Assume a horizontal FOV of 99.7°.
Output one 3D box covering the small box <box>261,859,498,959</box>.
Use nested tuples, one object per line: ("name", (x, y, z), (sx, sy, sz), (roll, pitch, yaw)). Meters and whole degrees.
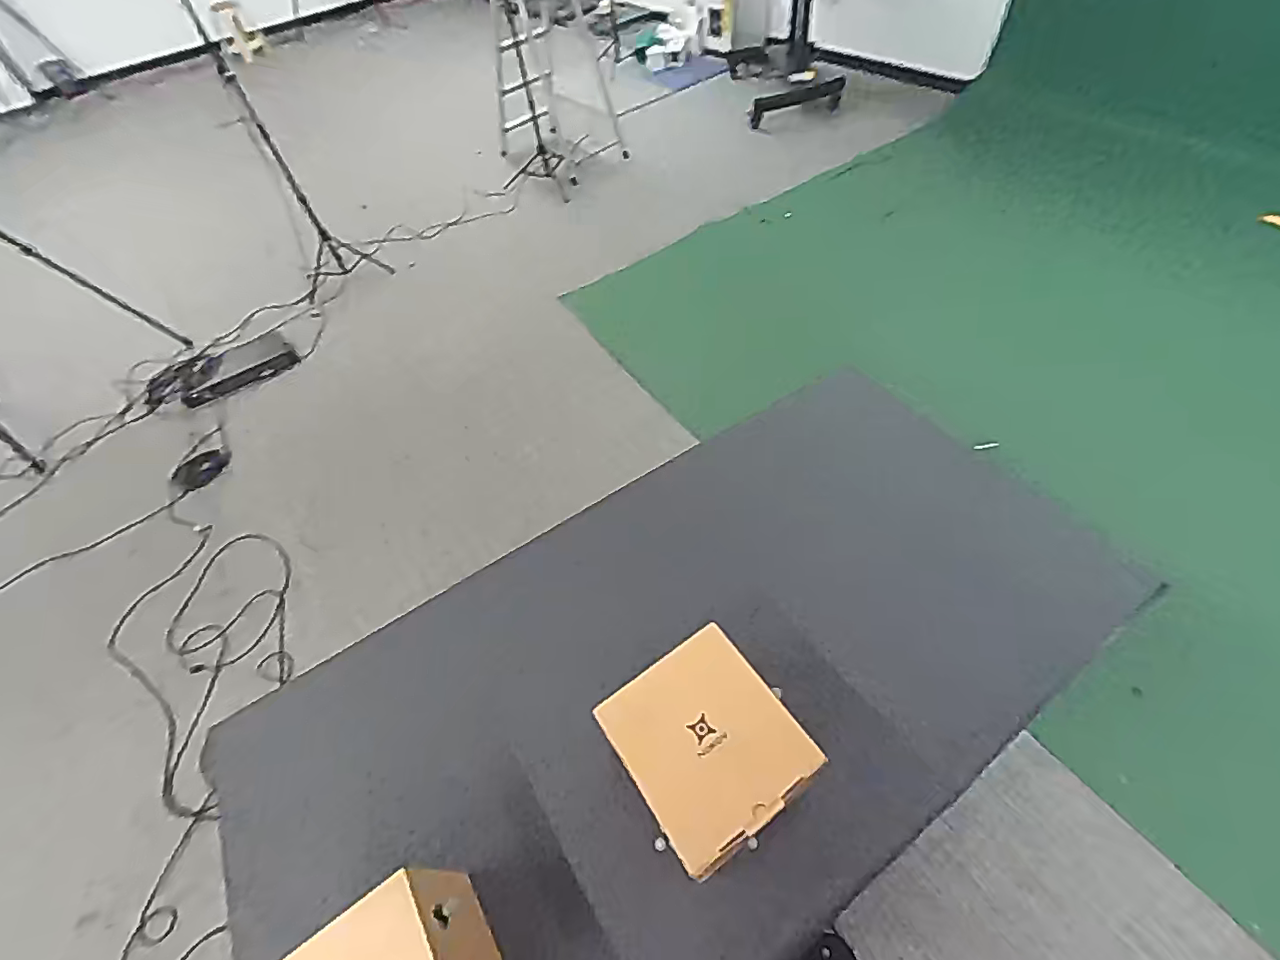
("small box", (-0.231, 0.491, 0.492), (0.168, 0.176, 0.179), (-32, 56, -17))

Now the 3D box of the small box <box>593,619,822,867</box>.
("small box", (0.069, 0.298, 0.607), (0.168, 0.176, 0.179), (-31, 56, -16))
